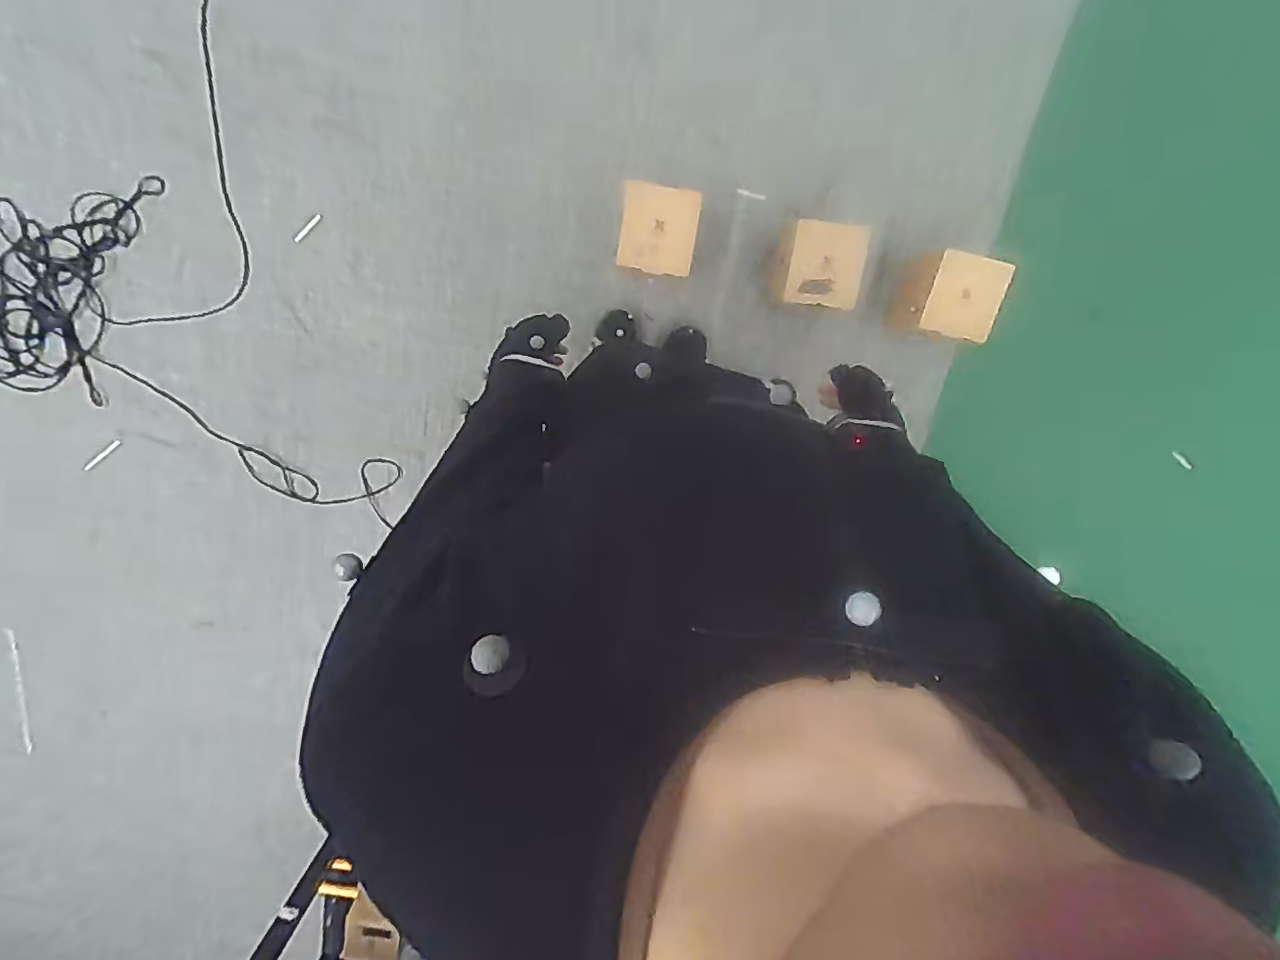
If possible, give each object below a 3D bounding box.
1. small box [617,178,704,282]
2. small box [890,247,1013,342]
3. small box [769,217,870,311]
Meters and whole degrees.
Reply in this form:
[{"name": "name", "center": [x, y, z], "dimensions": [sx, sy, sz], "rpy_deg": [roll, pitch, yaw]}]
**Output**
[{"name": "small box", "center": [0.044, -0.570, 1.254], "dimensions": [0.168, 0.176, 0.179], "rpy_deg": [10, 106, -1]}, {"name": "small box", "center": [0.729, -0.436, 1.290], "dimensions": [0.168, 0.176, 0.179], "rpy_deg": [12, 106, -2]}, {"name": "small box", "center": [0.412, -0.499, 1.273], "dimensions": [0.168, 0.176, 0.179], "rpy_deg": [7, 105, -2]}]
